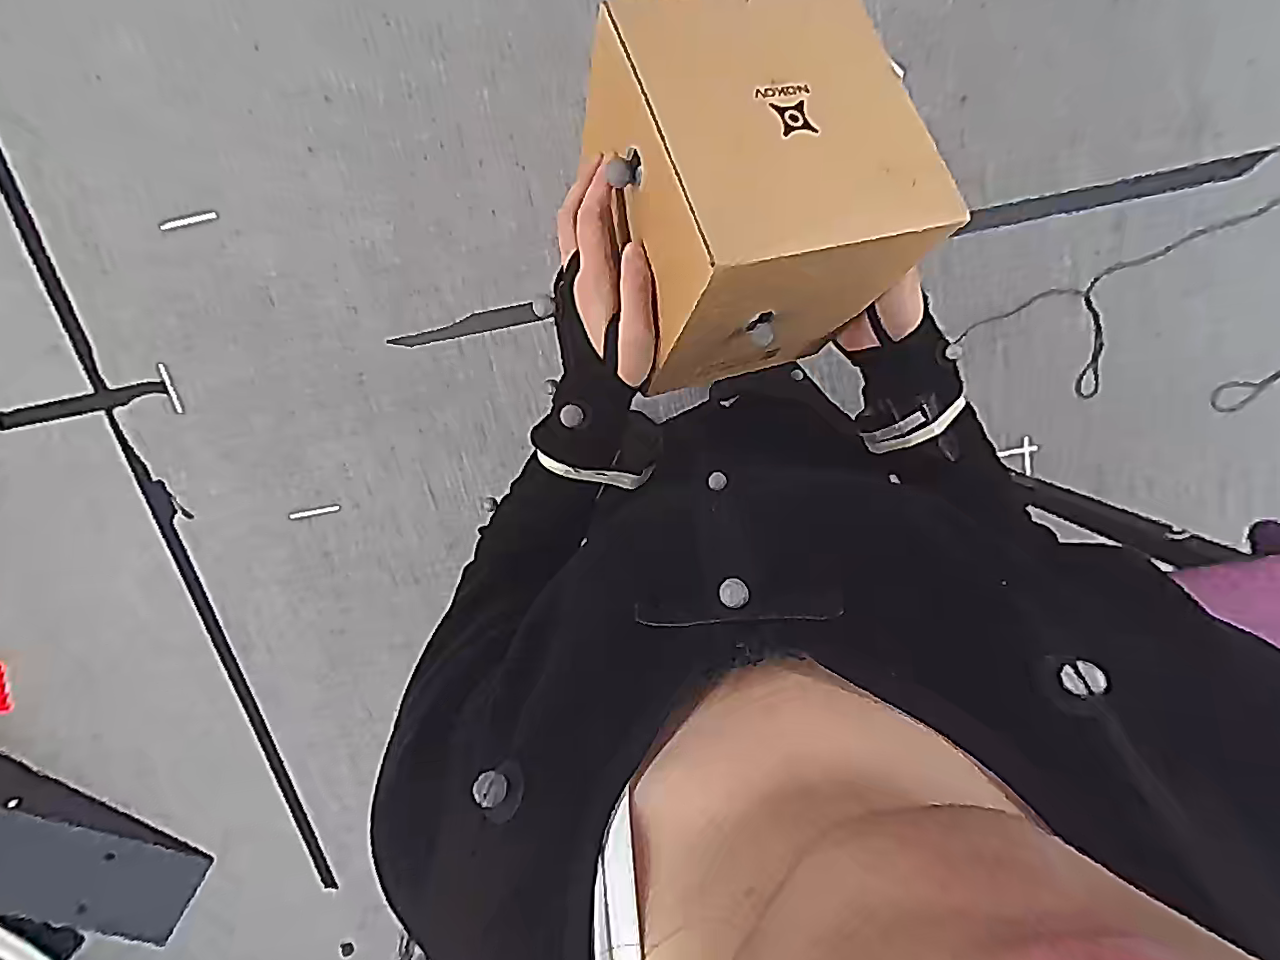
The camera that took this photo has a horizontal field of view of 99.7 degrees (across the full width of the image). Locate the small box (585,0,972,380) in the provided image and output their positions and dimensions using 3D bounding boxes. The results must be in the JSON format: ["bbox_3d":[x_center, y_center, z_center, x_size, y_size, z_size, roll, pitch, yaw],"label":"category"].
[{"bbox_3d":[0.069,-0.185,0.373,0.168,0.176,0.179,-17,79,-16],"label":"small box"}]
